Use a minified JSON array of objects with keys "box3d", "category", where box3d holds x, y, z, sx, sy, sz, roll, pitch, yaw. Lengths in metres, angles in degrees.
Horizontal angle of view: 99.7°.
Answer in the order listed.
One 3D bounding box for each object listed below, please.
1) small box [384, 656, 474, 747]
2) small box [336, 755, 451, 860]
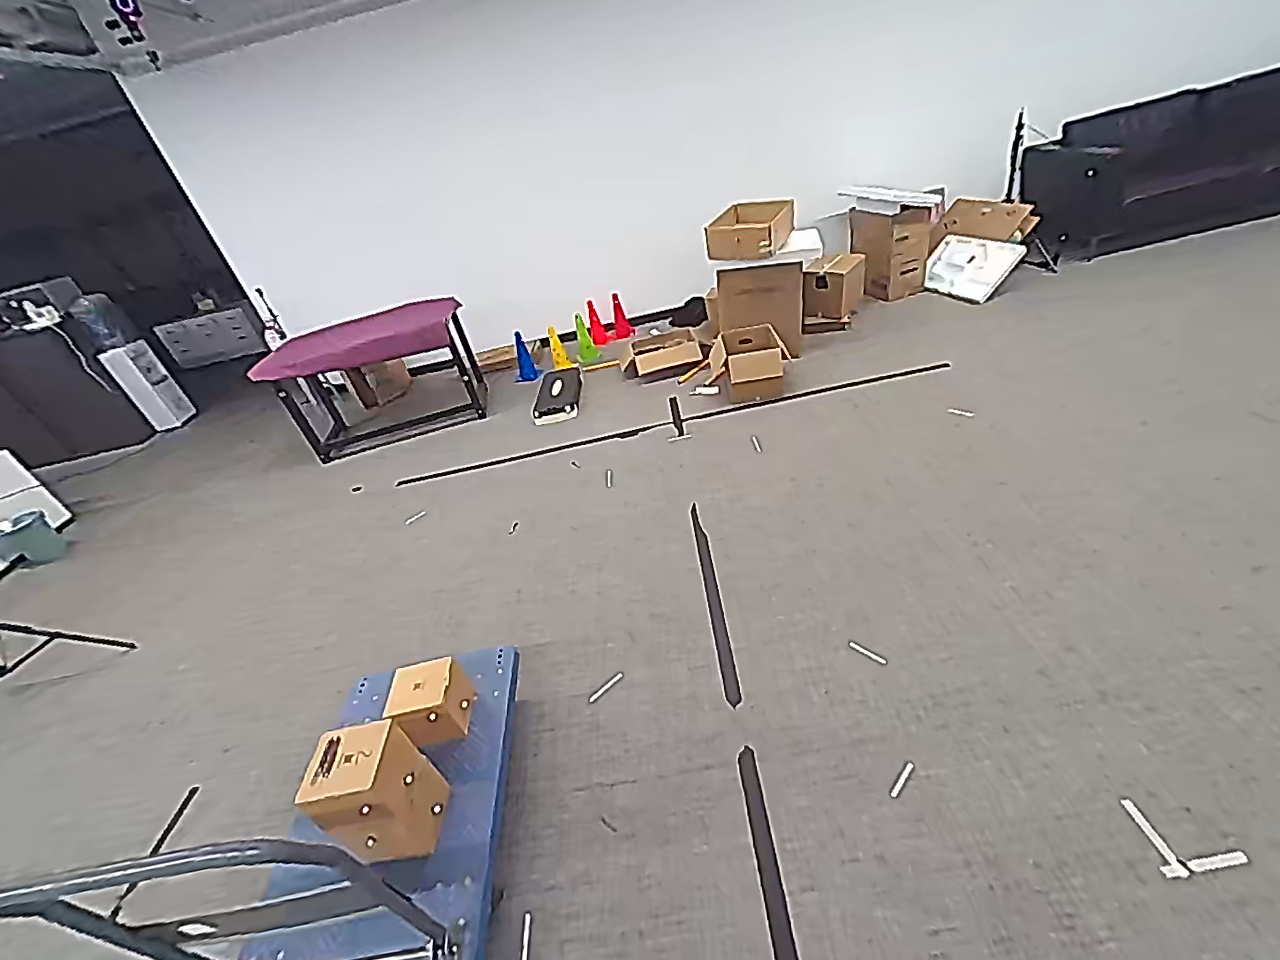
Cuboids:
[{"box3d":[-0.612,0.656,1.591,0.179,0.176,0.168,-14,34,0],"category":"small box"},{"box3d":[-0.603,0.818,1.345,0.179,0.176,0.168,-10,34,5],"category":"small box"}]
